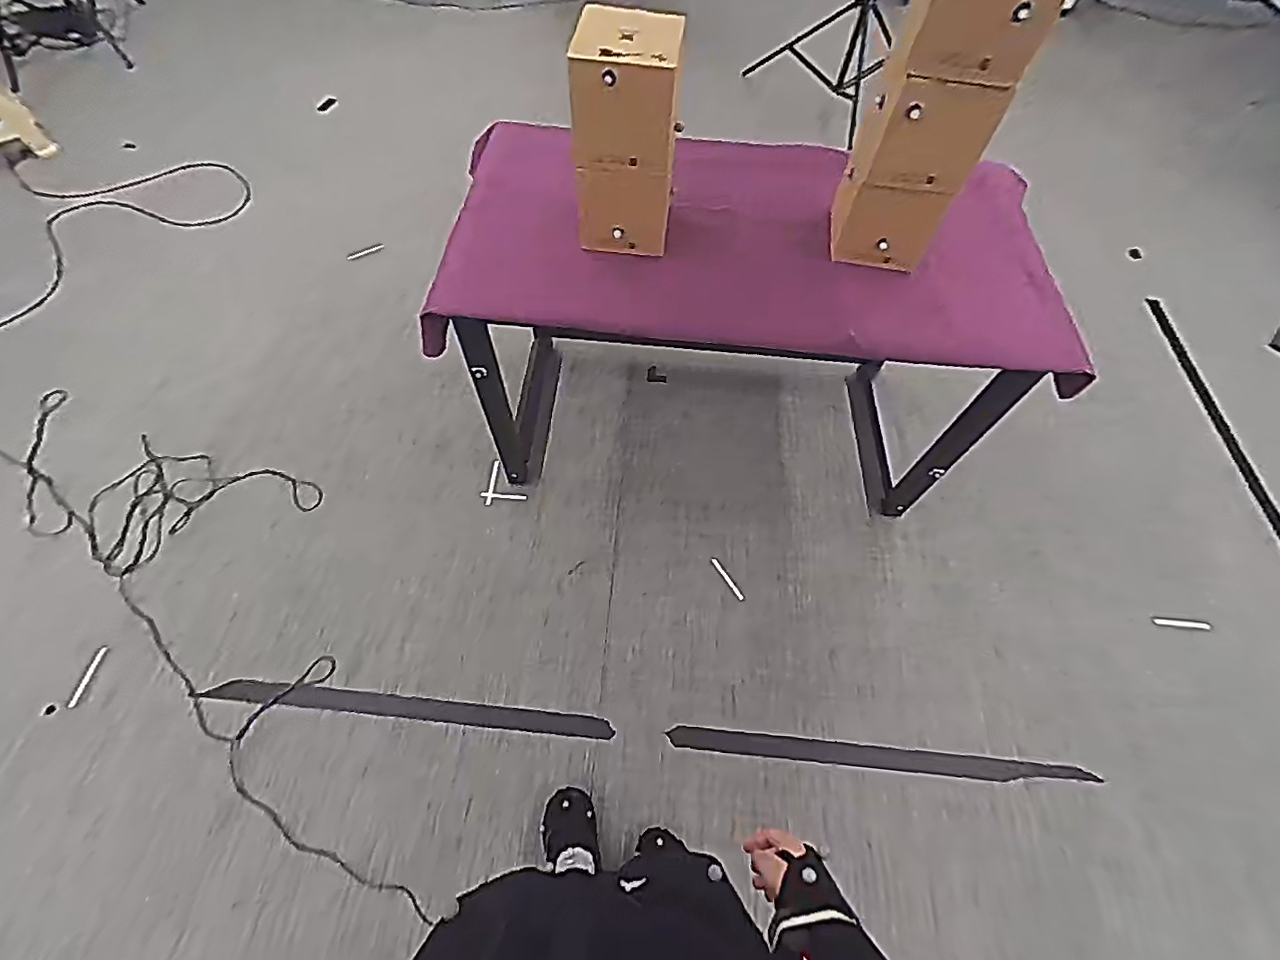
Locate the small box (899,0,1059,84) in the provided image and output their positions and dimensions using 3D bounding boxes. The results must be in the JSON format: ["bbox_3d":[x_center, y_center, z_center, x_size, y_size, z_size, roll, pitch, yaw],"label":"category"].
[{"bbox_3d":[0.487,-0.699,0.767,0.168,0.176,0.179,12,60,3],"label":"small box"}]

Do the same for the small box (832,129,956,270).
[{"bbox_3d":[0.482,-0.543,1.054,0.168,0.176,0.179,9,61,4],"label":"small box"}]

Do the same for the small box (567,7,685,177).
[{"bbox_3d":[-0.021,-0.644,0.904,0.168,0.176,0.179,7,60,2],"label":"small box"}]

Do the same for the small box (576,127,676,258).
[{"bbox_3d":[-0.025,-0.564,1.047,0.168,0.176,0.179,6,61,1],"label":"small box"}]
